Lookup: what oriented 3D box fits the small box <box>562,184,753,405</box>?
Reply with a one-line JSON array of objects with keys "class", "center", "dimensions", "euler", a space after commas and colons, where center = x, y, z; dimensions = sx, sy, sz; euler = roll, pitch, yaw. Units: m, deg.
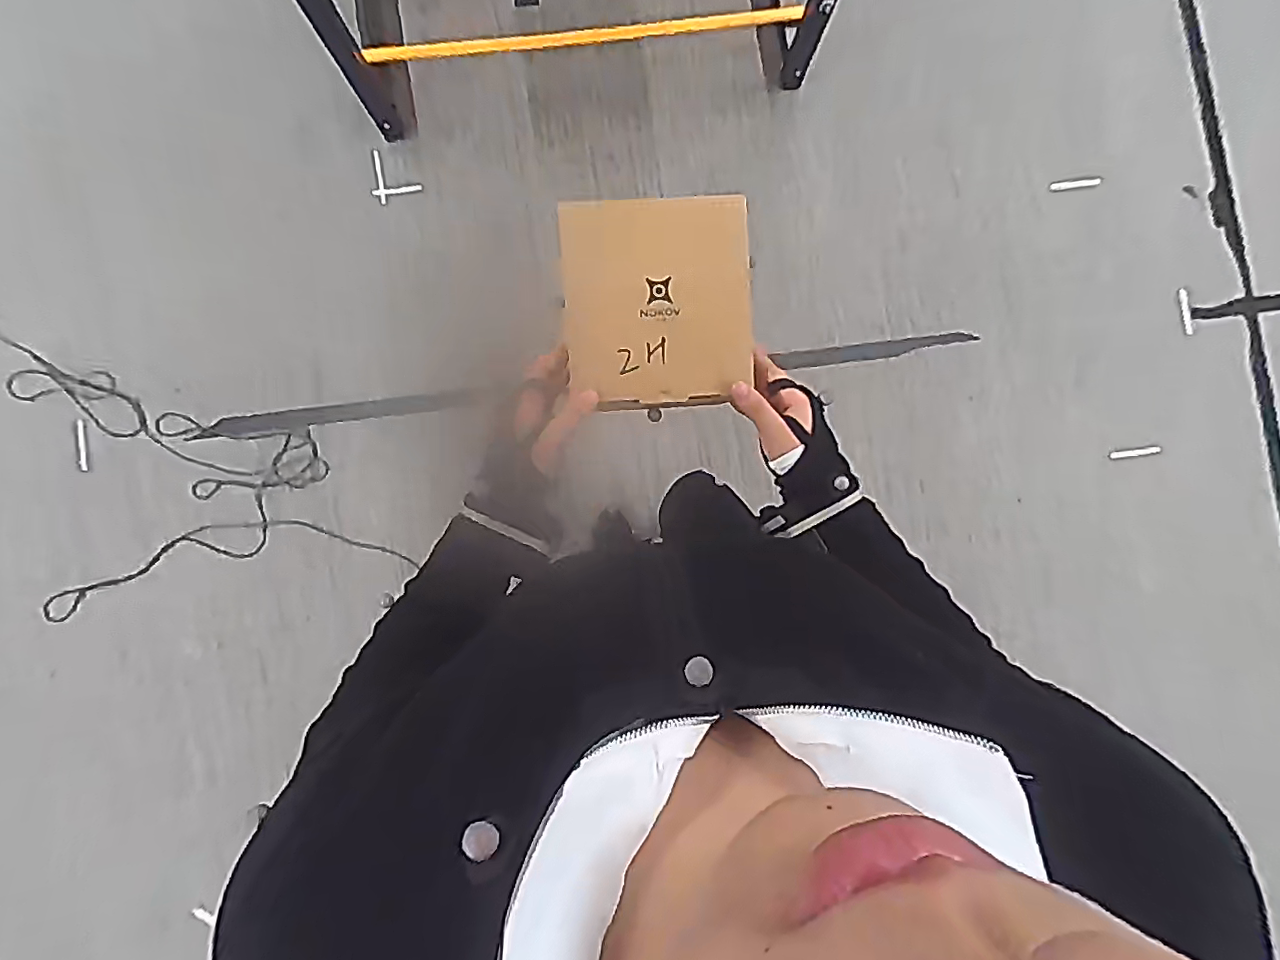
[{"class": "small box", "center": [0.012, -0.174, 0.555], "dimensions": [0.168, 0.176, 0.179], "euler": [-4, 94, -2]}]
